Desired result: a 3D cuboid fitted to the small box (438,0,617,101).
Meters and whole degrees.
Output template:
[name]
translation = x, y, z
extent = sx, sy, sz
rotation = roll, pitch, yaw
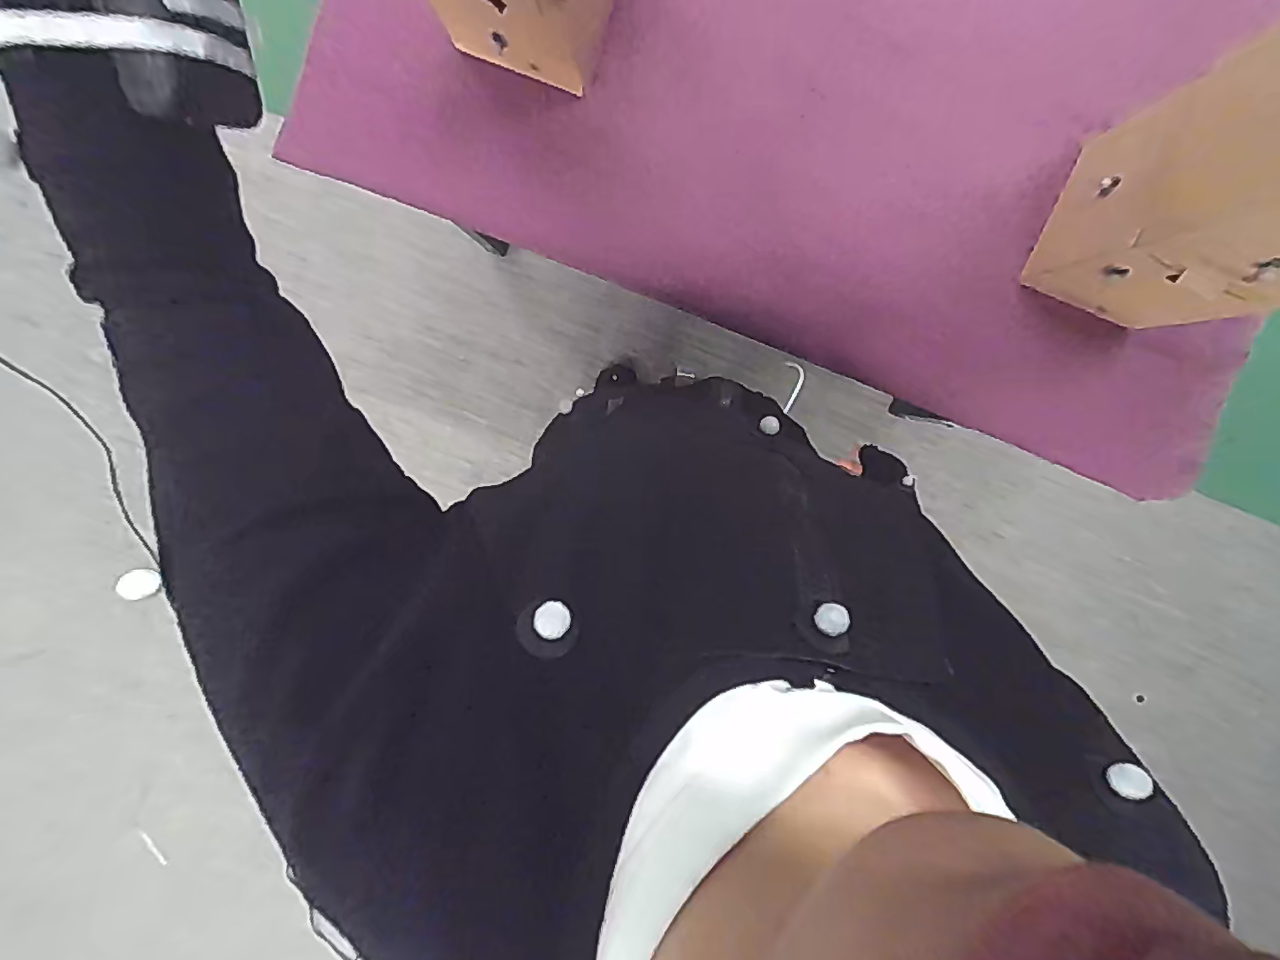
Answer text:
[small box]
translation = -0.115, -0.551, 0.565
extent = 0.168, 0.176, 0.179
rotation = 19, 101, -4
